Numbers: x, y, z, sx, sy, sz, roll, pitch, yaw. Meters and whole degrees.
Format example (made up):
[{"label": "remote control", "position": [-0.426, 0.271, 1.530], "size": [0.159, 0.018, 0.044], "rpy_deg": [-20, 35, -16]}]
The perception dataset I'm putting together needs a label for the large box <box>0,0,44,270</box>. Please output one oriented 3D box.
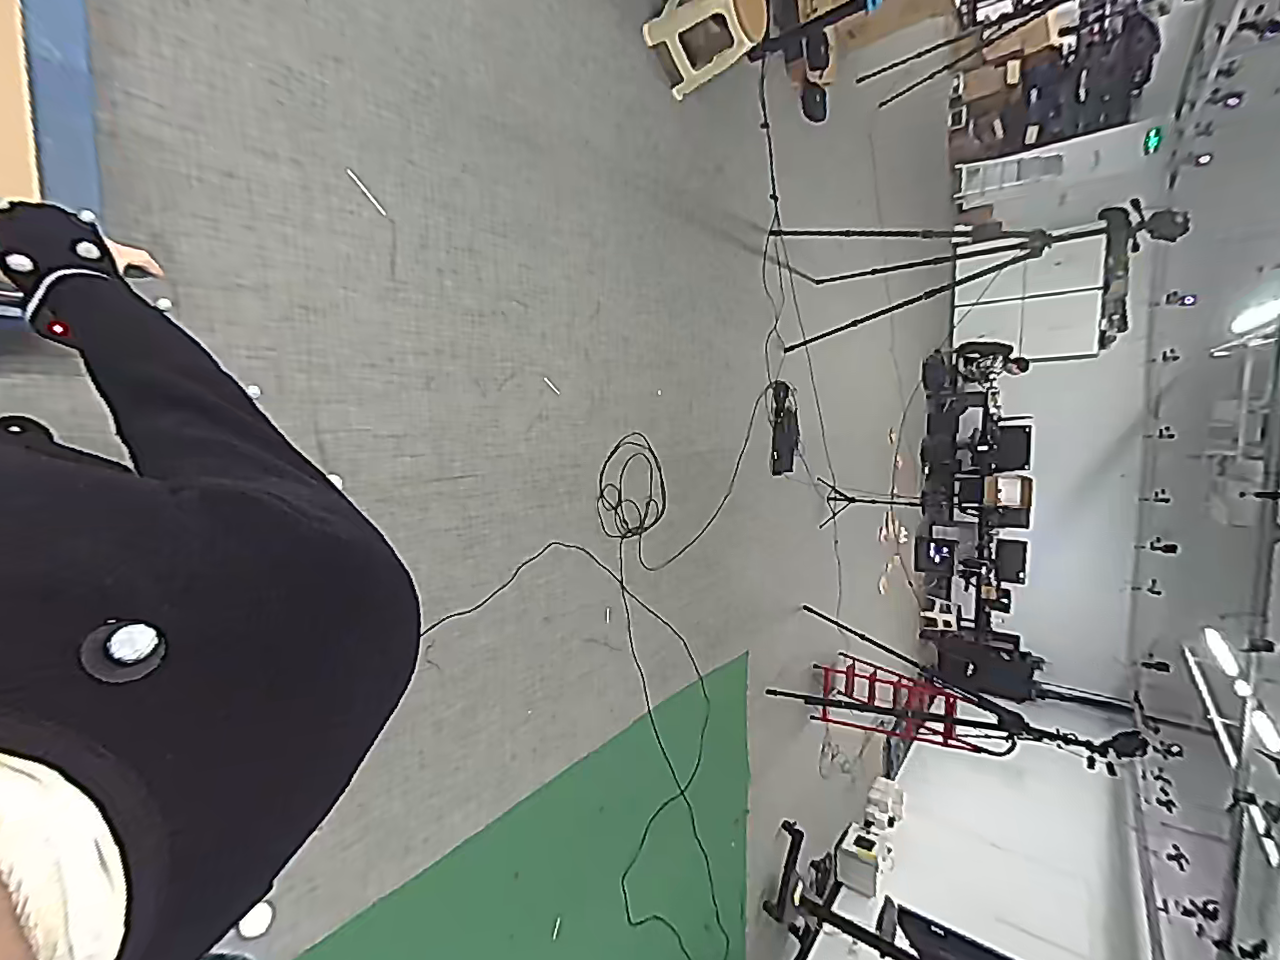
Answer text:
[{"label": "large box", "position": [-1.103, -0.554, 0.758], "size": [0.320, 0.320, 0.408], "rpy_deg": [-9, 98, -51]}]
